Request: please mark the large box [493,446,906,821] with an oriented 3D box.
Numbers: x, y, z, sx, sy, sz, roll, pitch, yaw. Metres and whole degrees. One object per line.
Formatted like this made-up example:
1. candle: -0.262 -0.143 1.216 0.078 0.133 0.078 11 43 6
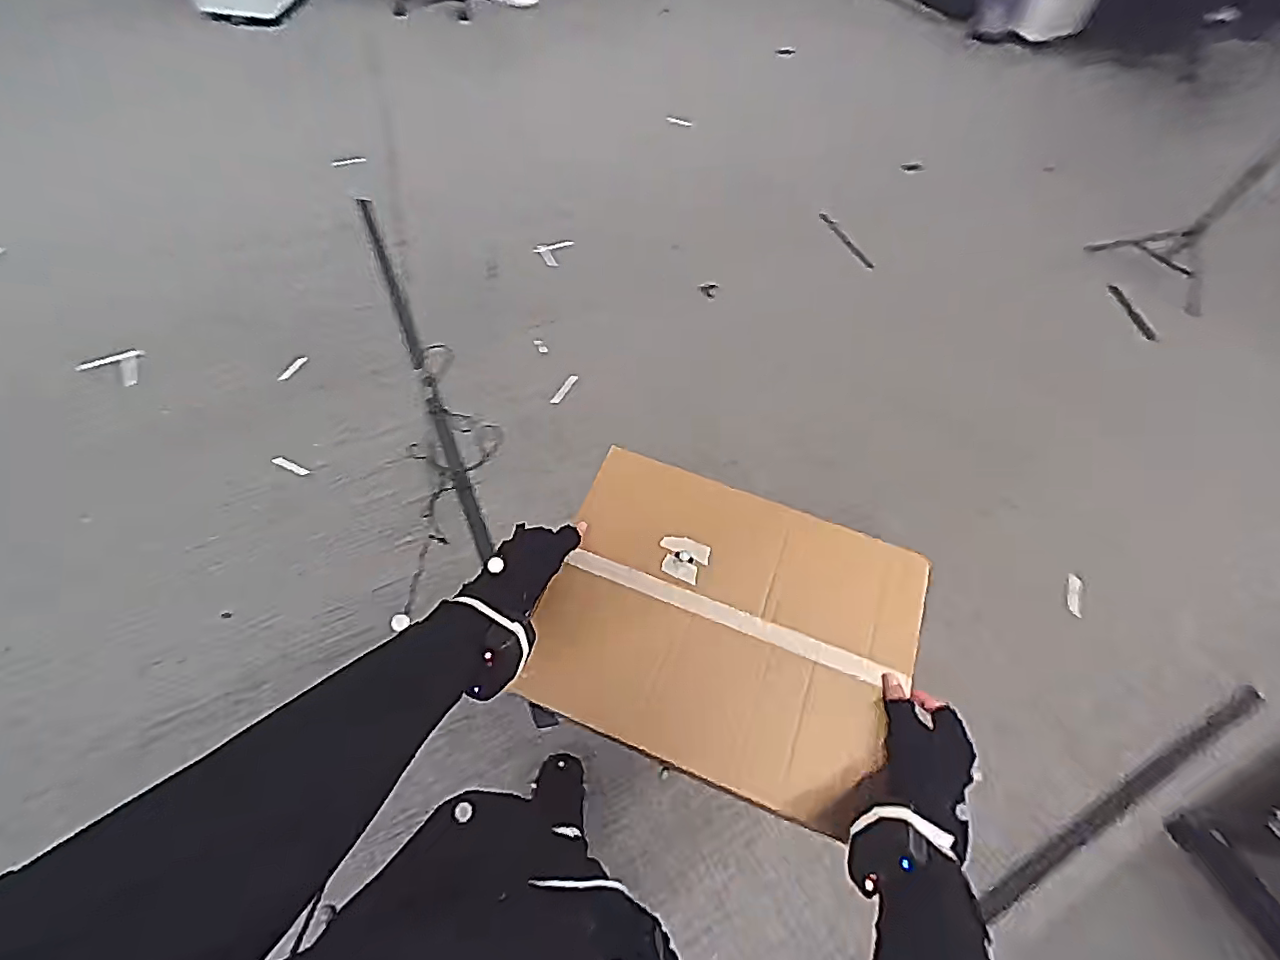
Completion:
1. large box: 0.082 0.208 0.742 0.408 0.320 0.320 19 64 10
